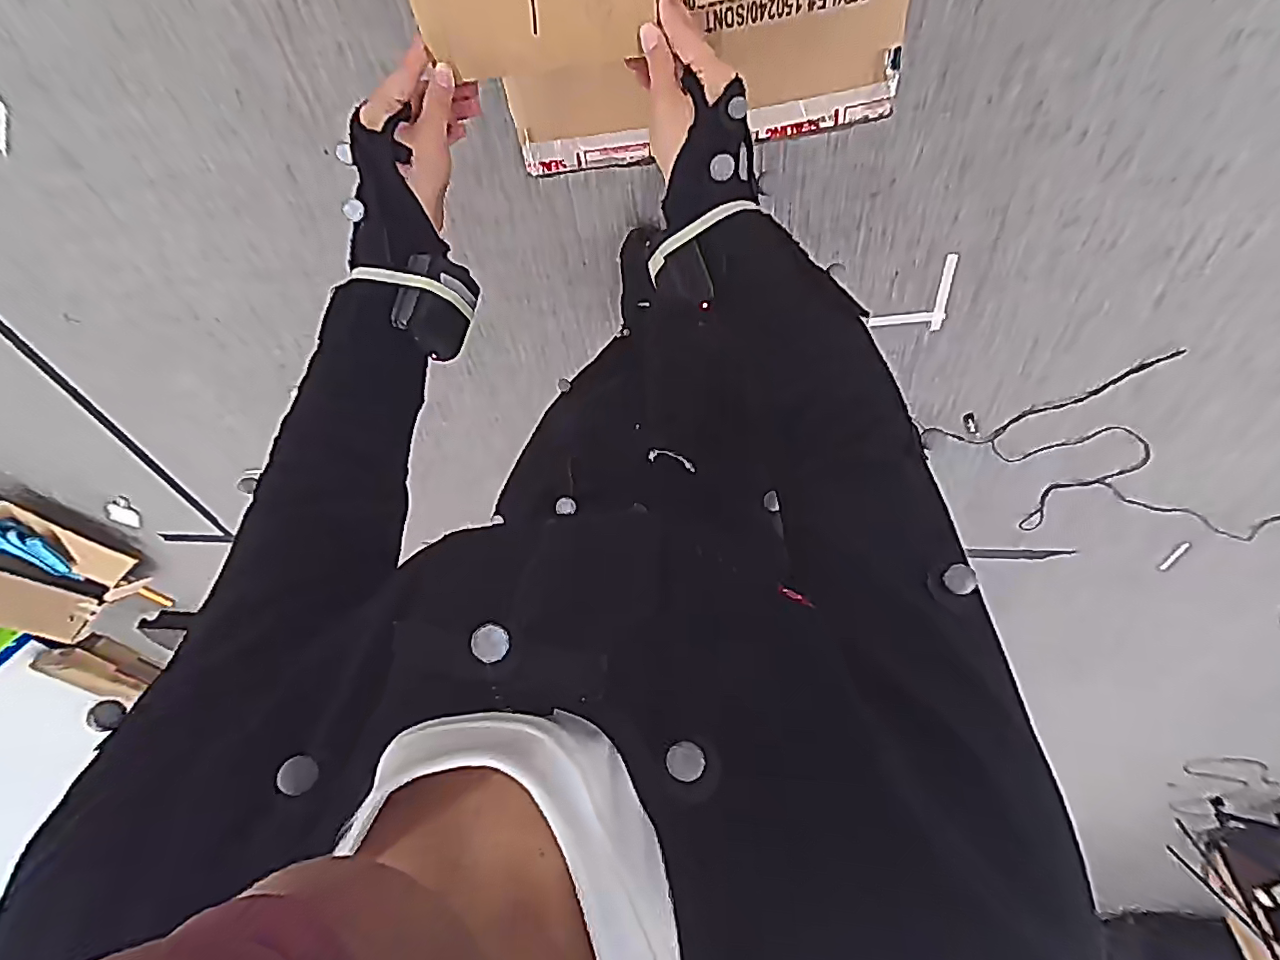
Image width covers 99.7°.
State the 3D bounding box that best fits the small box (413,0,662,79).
[{"bbox_3d":[-0.074,-0.412,0.375,0.168,0.176,0.179,-3,139,6],"label":"small box"}]
